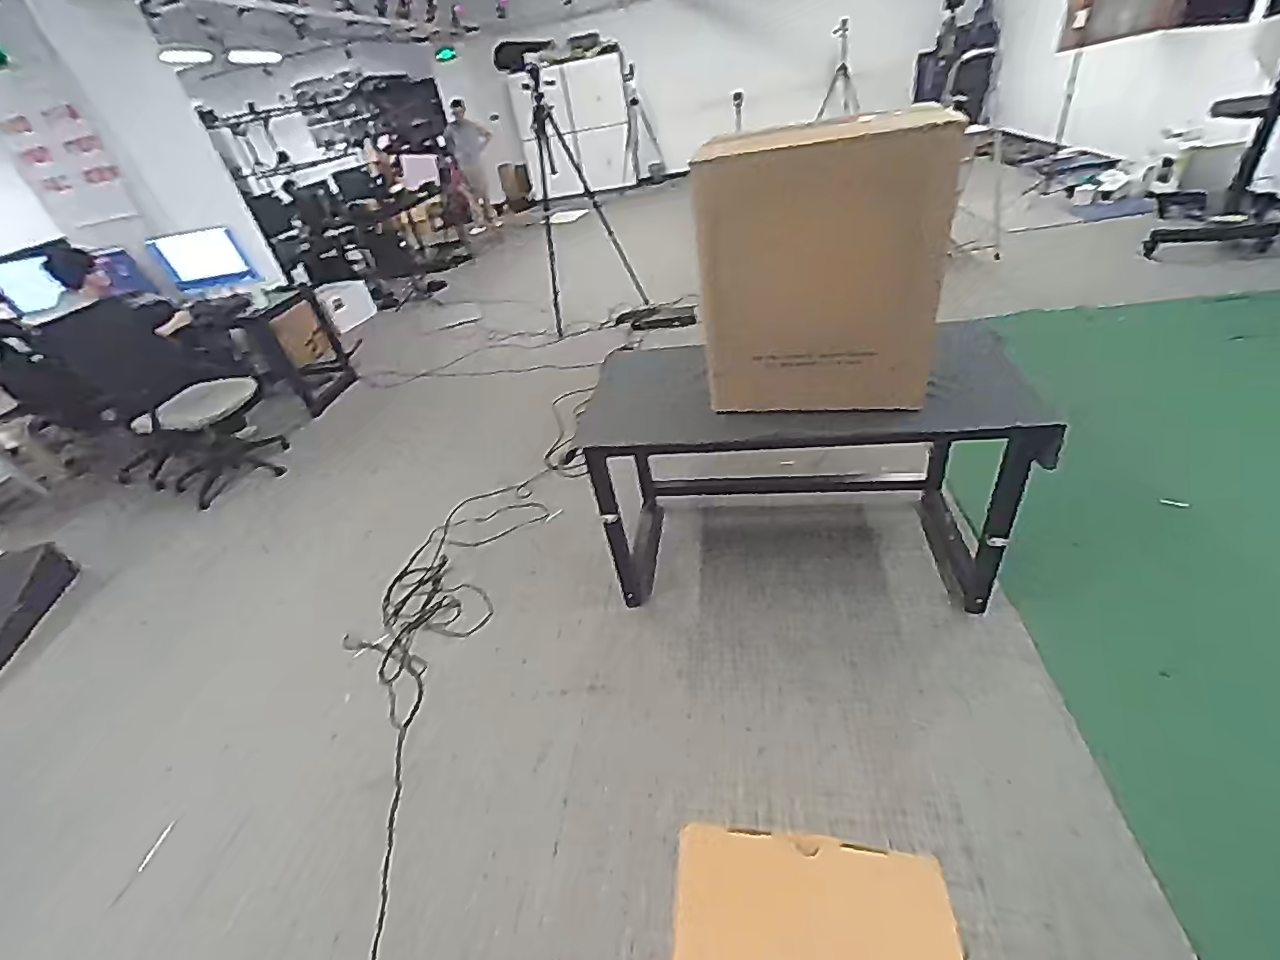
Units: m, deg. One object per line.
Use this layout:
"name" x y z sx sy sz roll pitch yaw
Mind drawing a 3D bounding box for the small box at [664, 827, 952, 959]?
"small box" 0.097 0.359 0.343 0.168 0.176 0.179 3 37 8
